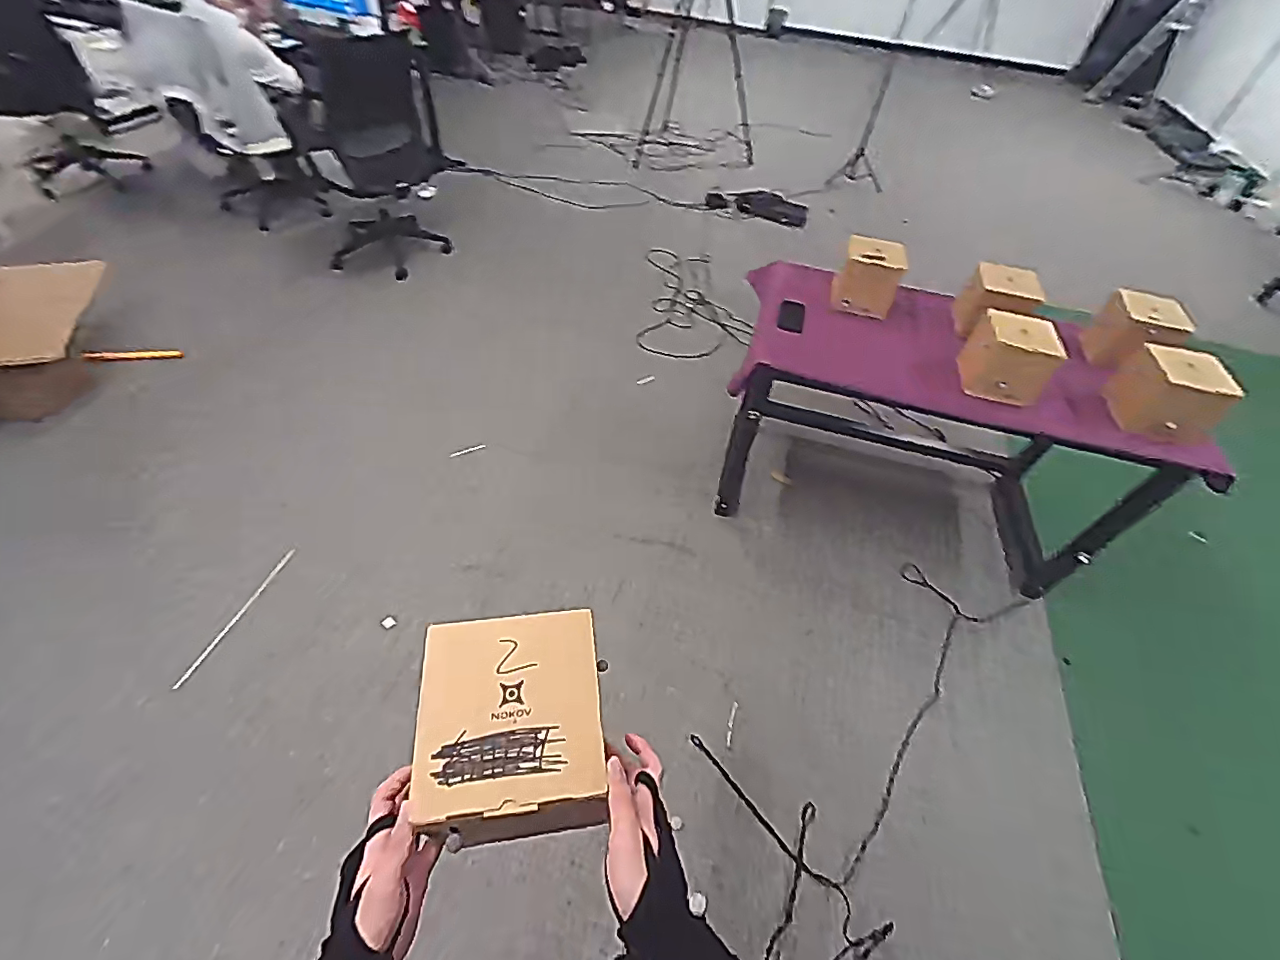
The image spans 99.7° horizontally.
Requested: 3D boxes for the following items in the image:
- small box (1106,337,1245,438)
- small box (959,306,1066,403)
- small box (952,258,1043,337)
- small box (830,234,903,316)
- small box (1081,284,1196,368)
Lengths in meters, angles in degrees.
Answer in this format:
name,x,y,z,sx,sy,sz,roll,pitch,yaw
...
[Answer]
name,x,y,z,sx,sy,sz,roll,pitch,yaw
small box,1.361,-0.236,1.393,0.168,0.176,0.179,13,50,8
small box,0.986,-0.336,1.454,0.168,0.176,0.179,14,49,7
small box,1.073,-0.543,1.642,0.168,0.176,0.179,14,50,9
small box,0.704,-0.639,1.690,0.168,0.176,0.179,14,49,7
small box,1.447,-0.444,1.586,0.168,0.176,0.179,15,49,9
